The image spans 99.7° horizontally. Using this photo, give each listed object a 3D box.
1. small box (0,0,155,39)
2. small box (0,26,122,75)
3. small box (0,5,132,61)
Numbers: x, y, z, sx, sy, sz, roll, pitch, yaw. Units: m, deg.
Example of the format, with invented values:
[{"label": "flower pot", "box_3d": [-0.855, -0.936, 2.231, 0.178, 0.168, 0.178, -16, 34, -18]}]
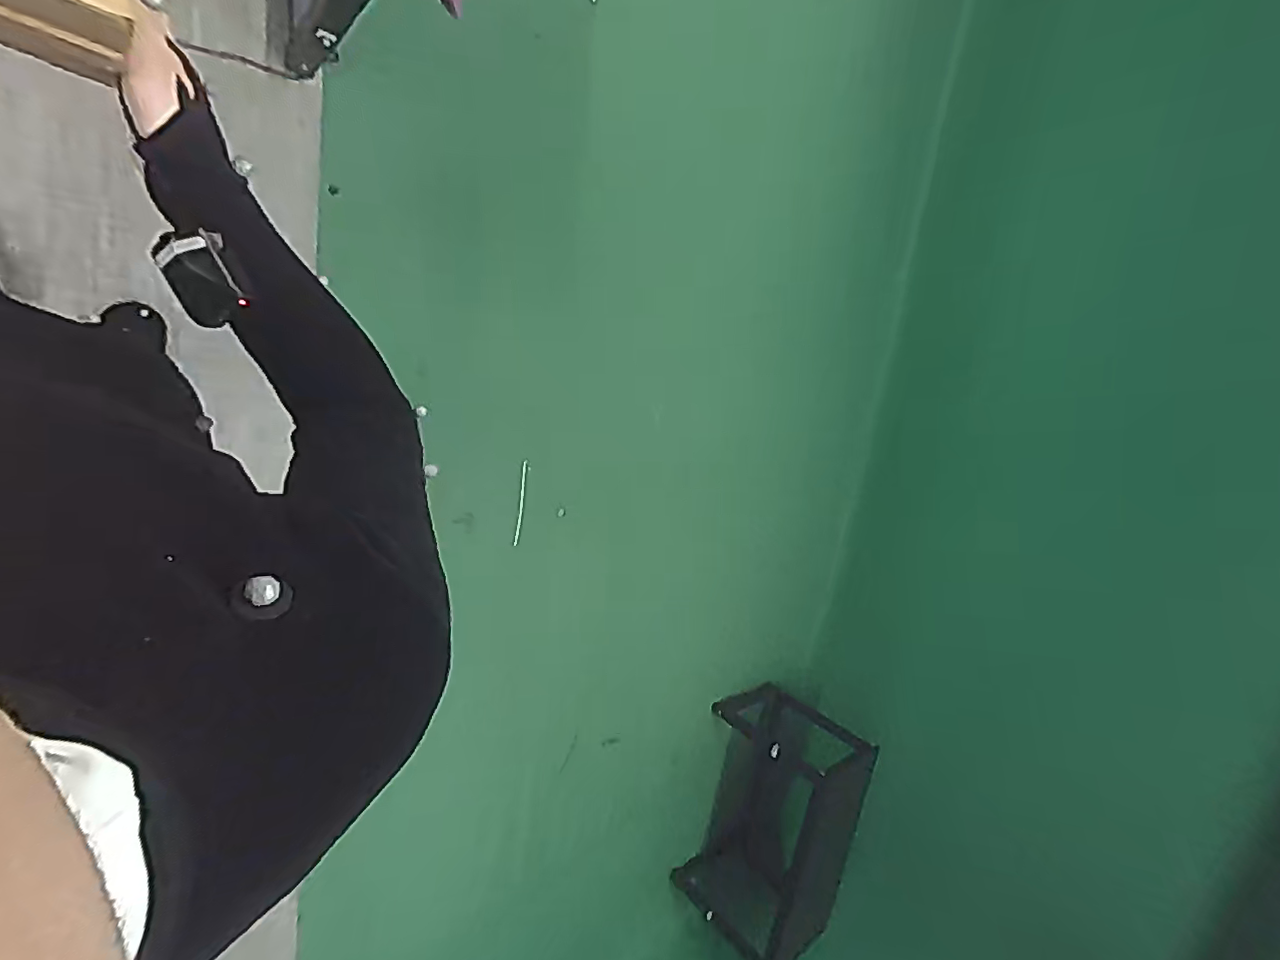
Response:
[{"label": "small box", "box_3d": [-0.299, -0.300, 0.198, 0.179, 0.176, 0.168, 0, 116, -43]}, {"label": "small box", "box_3d": [-0.509, -0.439, 0.409, 0.179, 0.176, 0.168, 3, 114, -46]}, {"label": "small box", "box_3d": [-0.405, -0.370, 0.303, 0.179, 0.176, 0.168, 1, 115, -44]}]
